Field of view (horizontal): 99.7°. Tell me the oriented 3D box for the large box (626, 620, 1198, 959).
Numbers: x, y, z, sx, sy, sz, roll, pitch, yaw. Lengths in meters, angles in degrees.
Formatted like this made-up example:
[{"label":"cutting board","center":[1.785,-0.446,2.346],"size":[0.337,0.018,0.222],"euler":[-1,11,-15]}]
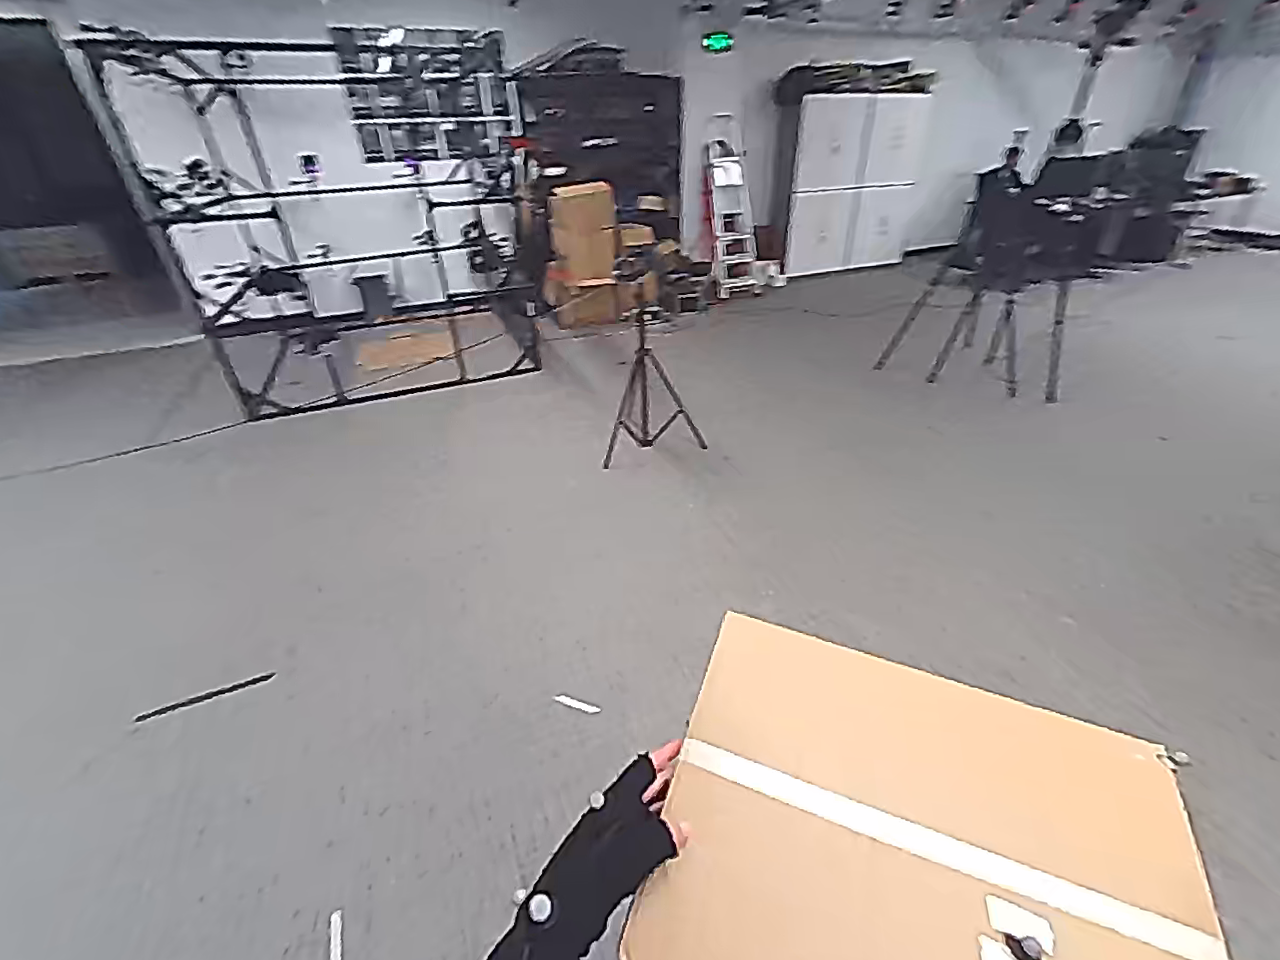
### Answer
[{"label":"large box","center":[0.221,0.403,0.554],"size":[0.408,0.320,0.320],"euler":[14,46,14]}]
